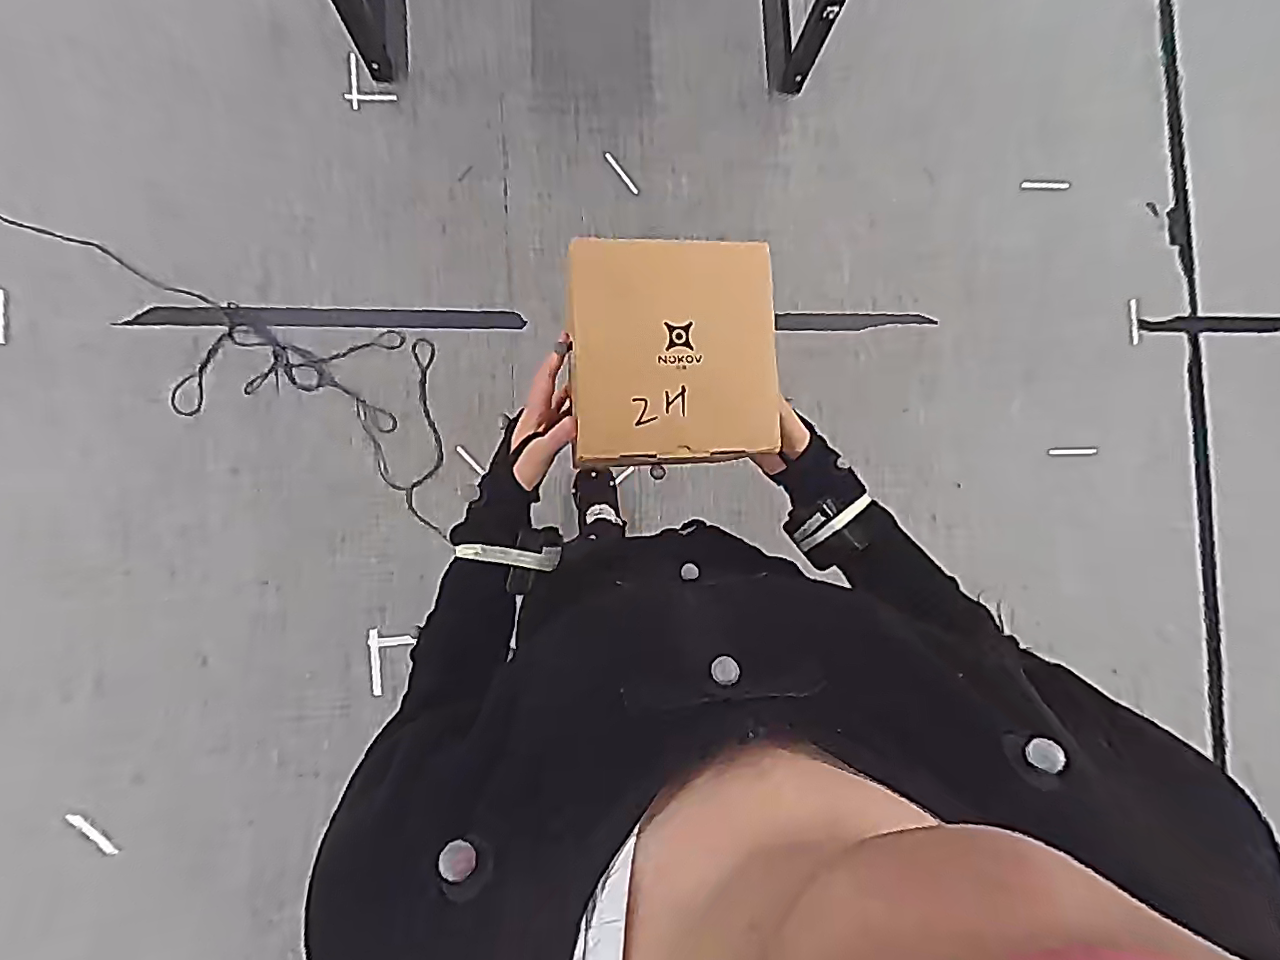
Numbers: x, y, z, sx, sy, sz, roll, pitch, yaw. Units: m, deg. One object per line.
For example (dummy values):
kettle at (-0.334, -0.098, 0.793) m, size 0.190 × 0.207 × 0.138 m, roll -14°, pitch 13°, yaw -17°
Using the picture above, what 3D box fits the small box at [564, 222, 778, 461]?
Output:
small box at (0.015, -0.113, 0.505) m, size 0.168 × 0.176 × 0.179 m, roll -3°, pitch 89°, yaw -8°
